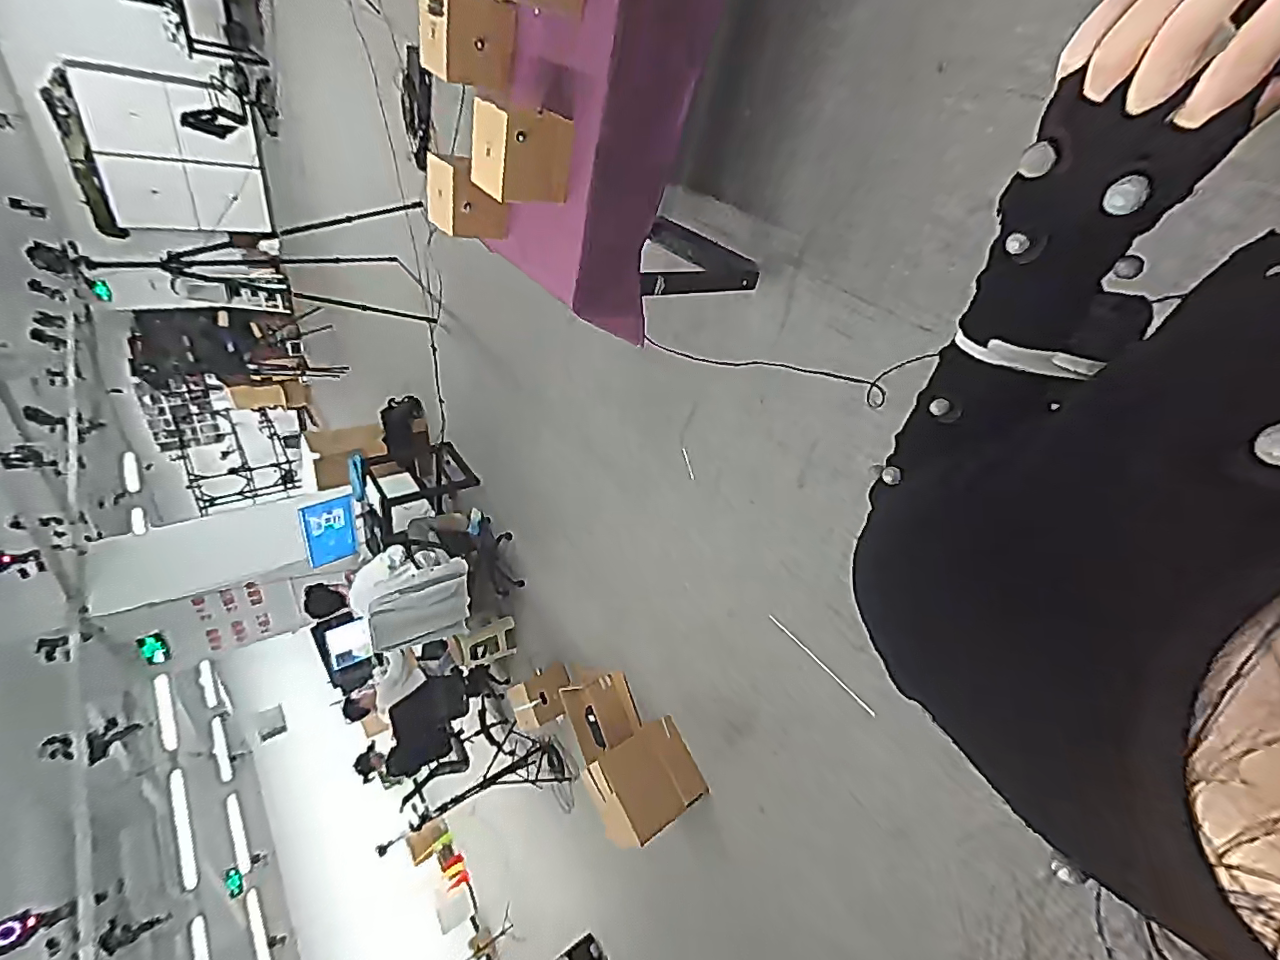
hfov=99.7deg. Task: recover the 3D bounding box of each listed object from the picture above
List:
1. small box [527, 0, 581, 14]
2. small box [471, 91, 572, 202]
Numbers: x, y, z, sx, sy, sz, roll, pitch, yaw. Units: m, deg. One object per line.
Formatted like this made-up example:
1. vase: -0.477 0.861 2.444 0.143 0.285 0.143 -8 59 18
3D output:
1. small box: -0.207 -1.043 1.046 0.168 0.176 0.179 47 136 30
2. small box: -0.274 -0.763 1.251 0.168 0.176 0.179 46 135 32
